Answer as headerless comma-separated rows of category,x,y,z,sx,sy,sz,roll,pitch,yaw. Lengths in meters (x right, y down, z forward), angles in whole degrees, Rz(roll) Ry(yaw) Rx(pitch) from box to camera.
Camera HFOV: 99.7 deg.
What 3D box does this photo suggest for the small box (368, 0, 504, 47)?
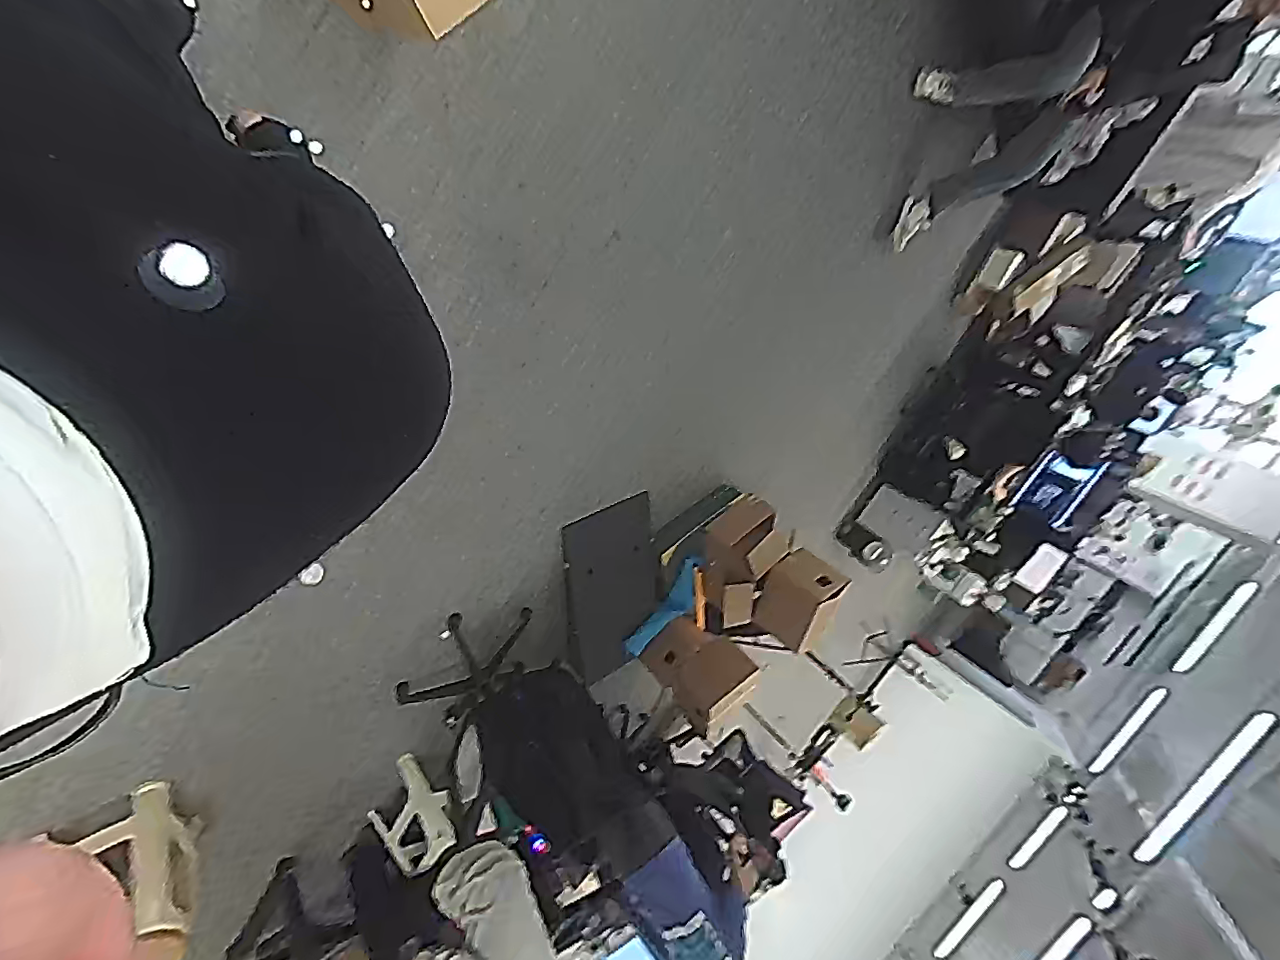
small box,-0.358,-0.831,0.865,0.168,0.176,0.179,-42,142,-11
